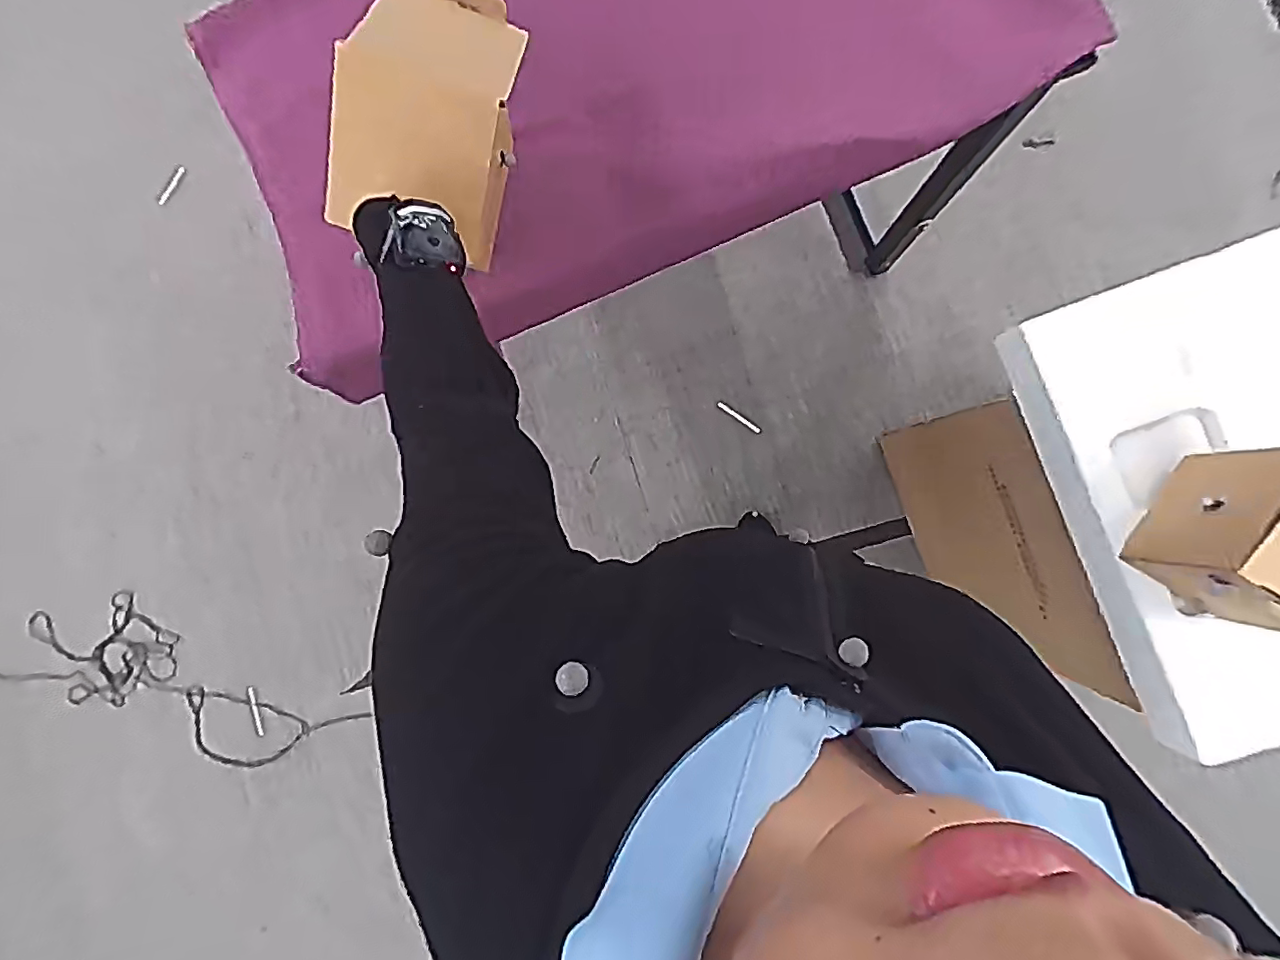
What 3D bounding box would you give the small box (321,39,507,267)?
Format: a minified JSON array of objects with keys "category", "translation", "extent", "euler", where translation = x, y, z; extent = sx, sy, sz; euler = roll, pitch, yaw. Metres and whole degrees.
[{"category":"small box","translation":[-0.263,-0.377,0.665],"extent":[0.168,0.176,0.179],"euler":[14,106,-15]}]
